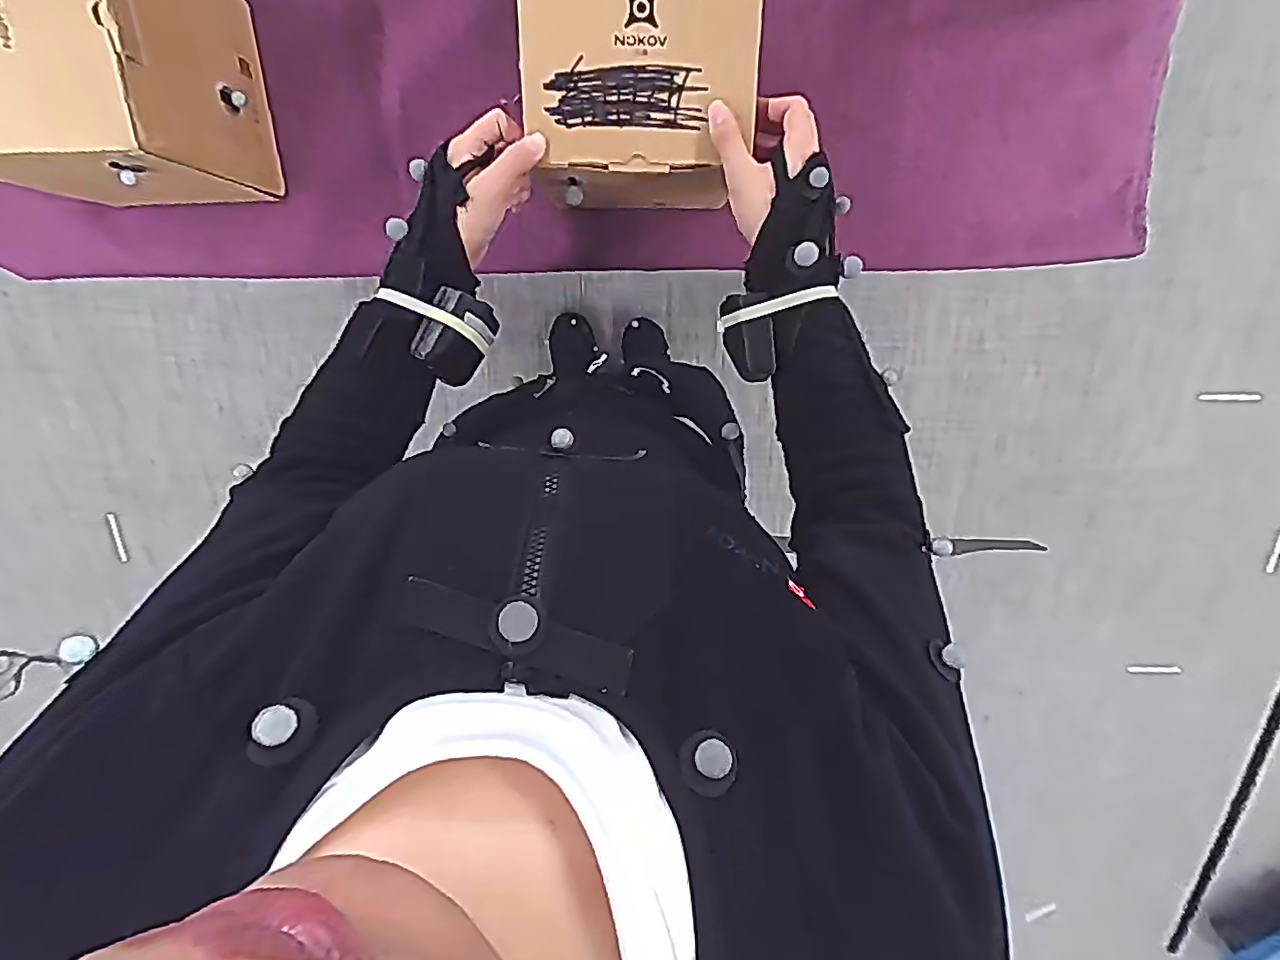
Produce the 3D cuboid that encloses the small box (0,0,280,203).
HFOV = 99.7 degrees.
[{"bbox_3d":[-0.445,-0.334,0.441,0.179,0.176,0.168,-3,106,-1],"label":"small box"}]
